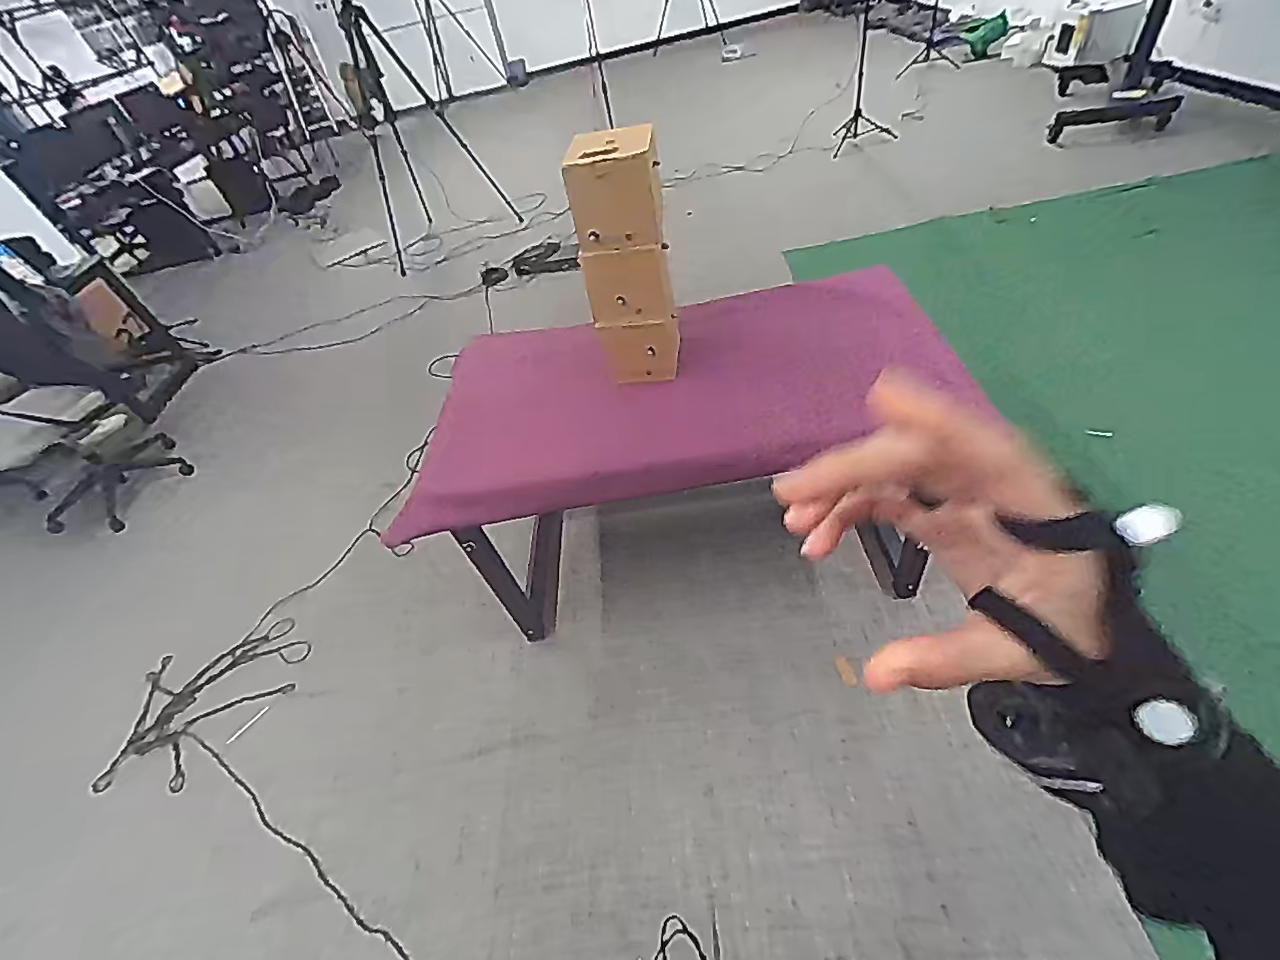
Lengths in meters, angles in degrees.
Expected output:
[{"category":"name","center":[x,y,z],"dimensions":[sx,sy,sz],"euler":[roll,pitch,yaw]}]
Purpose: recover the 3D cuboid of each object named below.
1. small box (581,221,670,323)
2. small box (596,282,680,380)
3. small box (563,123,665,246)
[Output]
[{"category":"small box","center":[-0.024,-0.473,1.209],"dimensions":[0.168,0.176,0.179],"euler":[-3,48,9]},{"category":"small box","center":[0.004,-0.356,1.318],"dimensions":[0.168,0.176,0.179],"euler":[-1,47,12]},{"category":"small box","center":[-0.043,-0.589,1.094],"dimensions":[0.168,0.176,0.179],"euler":[-2,47,10]}]
